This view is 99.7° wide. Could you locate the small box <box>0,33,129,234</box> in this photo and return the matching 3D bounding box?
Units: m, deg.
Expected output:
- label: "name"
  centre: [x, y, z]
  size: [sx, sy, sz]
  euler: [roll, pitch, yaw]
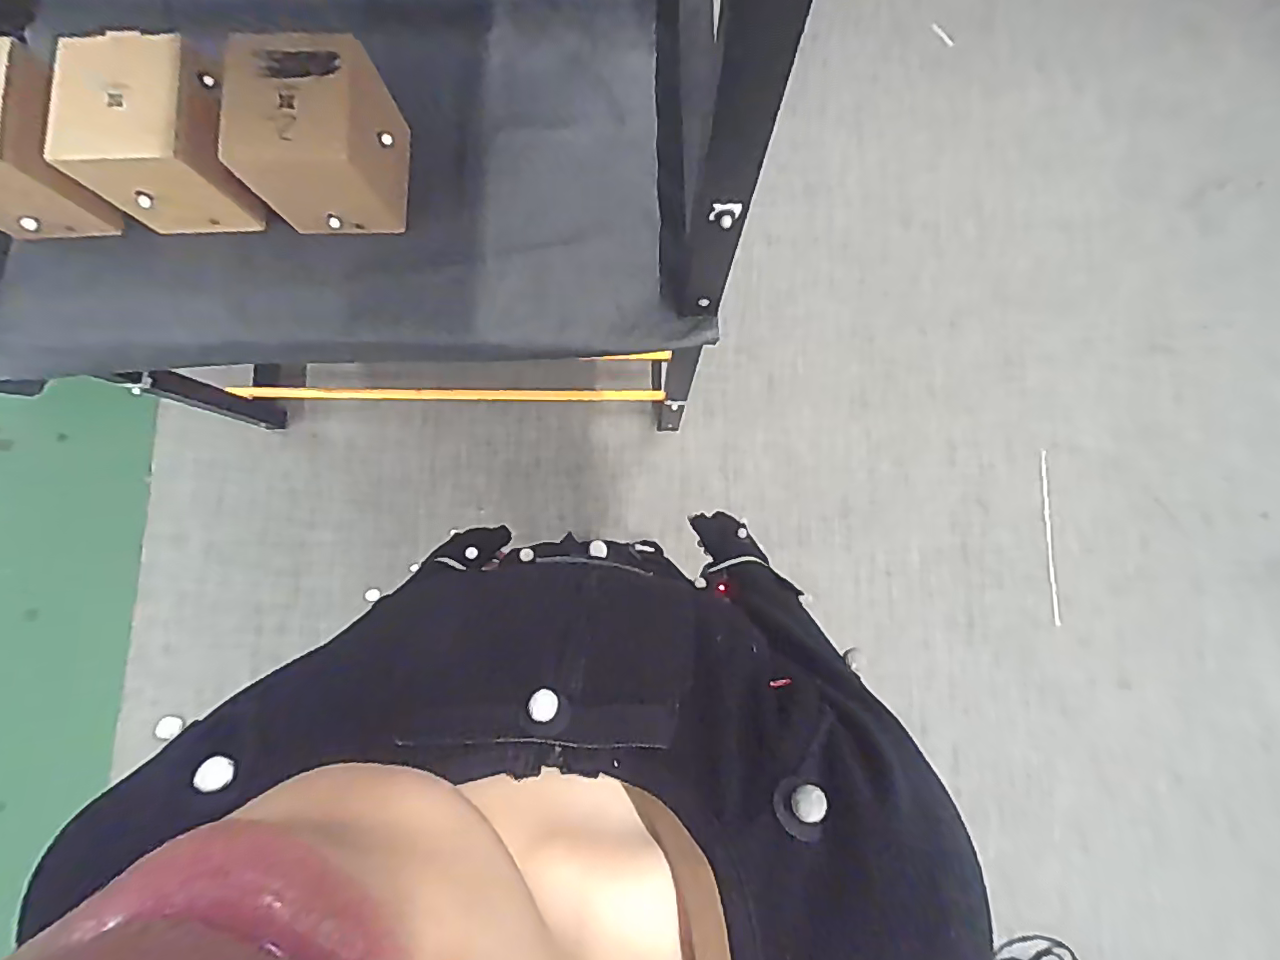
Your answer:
- label: "small box"
  centre: [-0.878, -0.476, 0.761]
  size: [0.168, 0.176, 0.179]
  euler: [-2, 84, 0]
